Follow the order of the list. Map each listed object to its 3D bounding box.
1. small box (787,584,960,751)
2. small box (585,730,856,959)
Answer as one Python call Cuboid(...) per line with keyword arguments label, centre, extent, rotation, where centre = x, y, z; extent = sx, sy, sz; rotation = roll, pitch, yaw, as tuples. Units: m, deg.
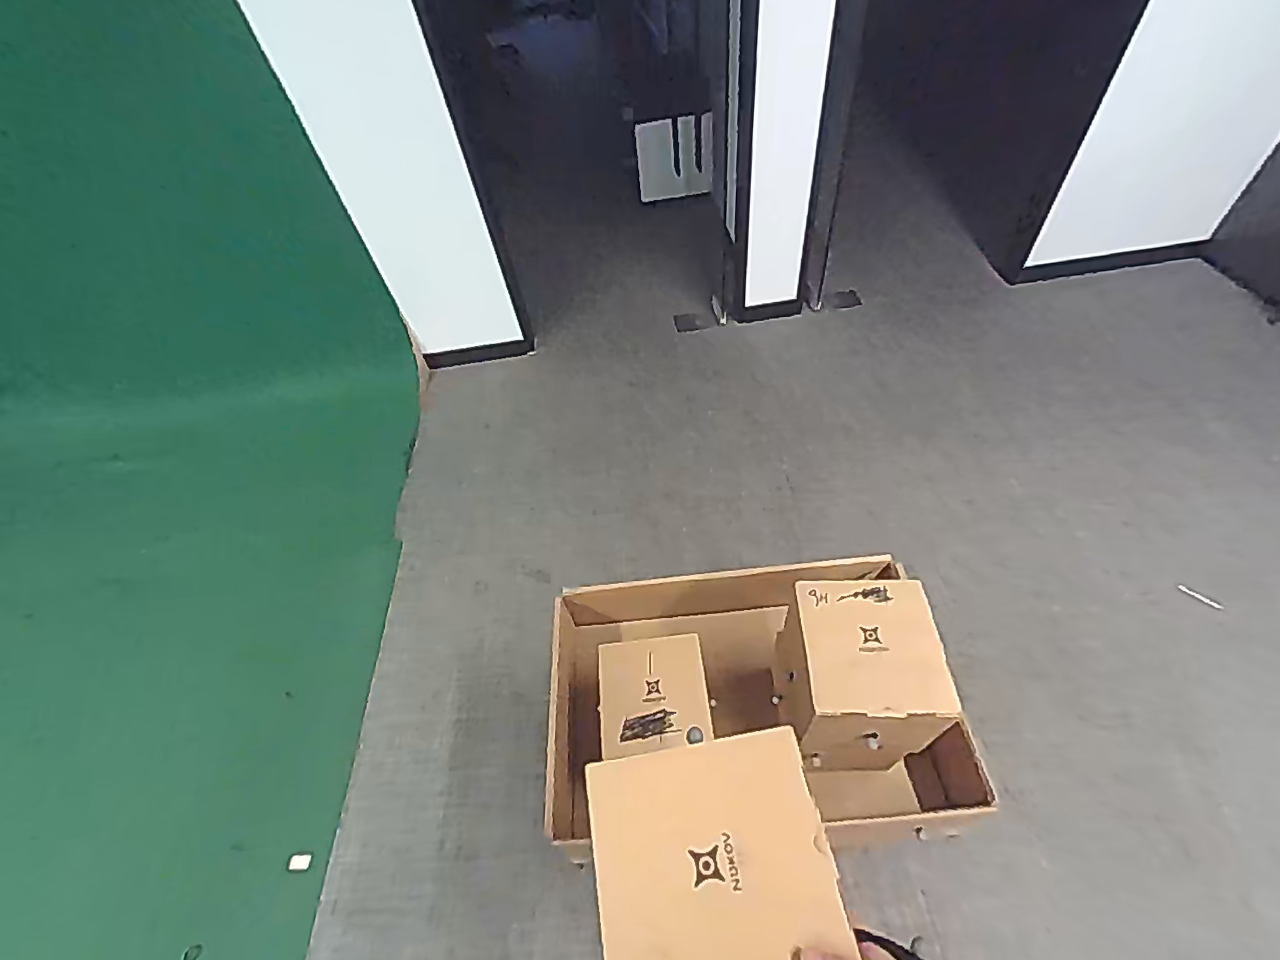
Cuboid(label="small box", centre=(0.297, 0.258, 0.732), extent=(0.168, 0.176, 0.179), rotation=(-2, 52, 7))
Cuboid(label="small box", centre=(0.058, 0.333, 0.464), extent=(0.179, 0.176, 0.168), rotation=(-10, 55, -2))
